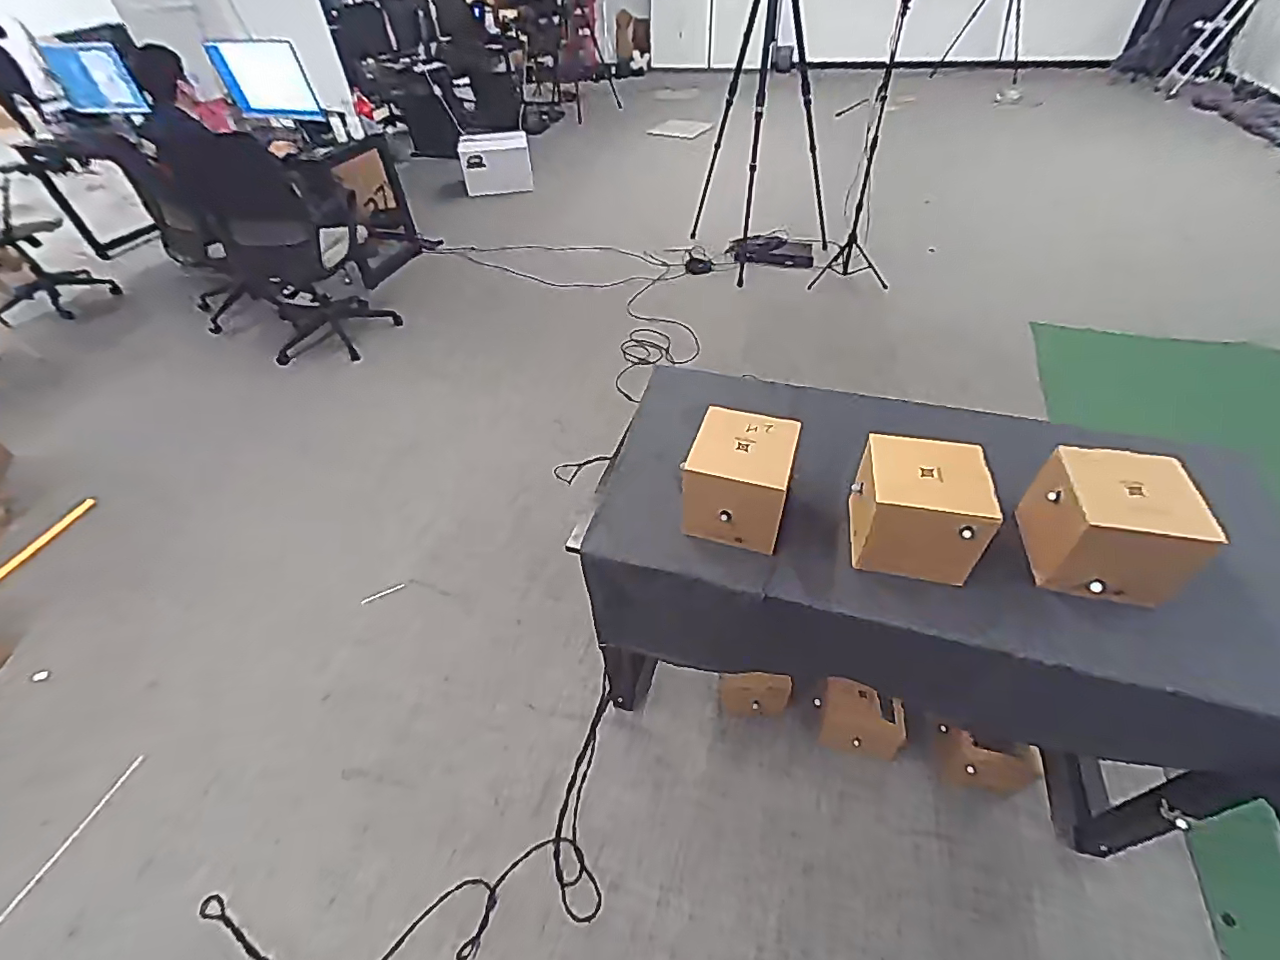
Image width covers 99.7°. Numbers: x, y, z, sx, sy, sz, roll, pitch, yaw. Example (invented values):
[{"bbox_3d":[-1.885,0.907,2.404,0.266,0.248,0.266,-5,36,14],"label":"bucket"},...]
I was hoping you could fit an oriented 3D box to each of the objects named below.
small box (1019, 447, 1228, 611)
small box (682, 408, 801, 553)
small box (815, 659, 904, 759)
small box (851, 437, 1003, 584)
[{"bbox_3d":[0.733,0.076,0.851,0.168,0.176,0.179,9,47,13],"label":"small box"},{"bbox_3d":[0.177,0.002,0.955,0.168,0.176,0.179,13,47,15],"label":"small box"},{"bbox_3d":[0.555,0.587,1.378,0.179,0.176,0.168,9,46,14],"label":"small box"},{"bbox_3d":[0.455,0.052,0.893,0.179,0.176,0.168,8,46,11],"label":"small box"}]
